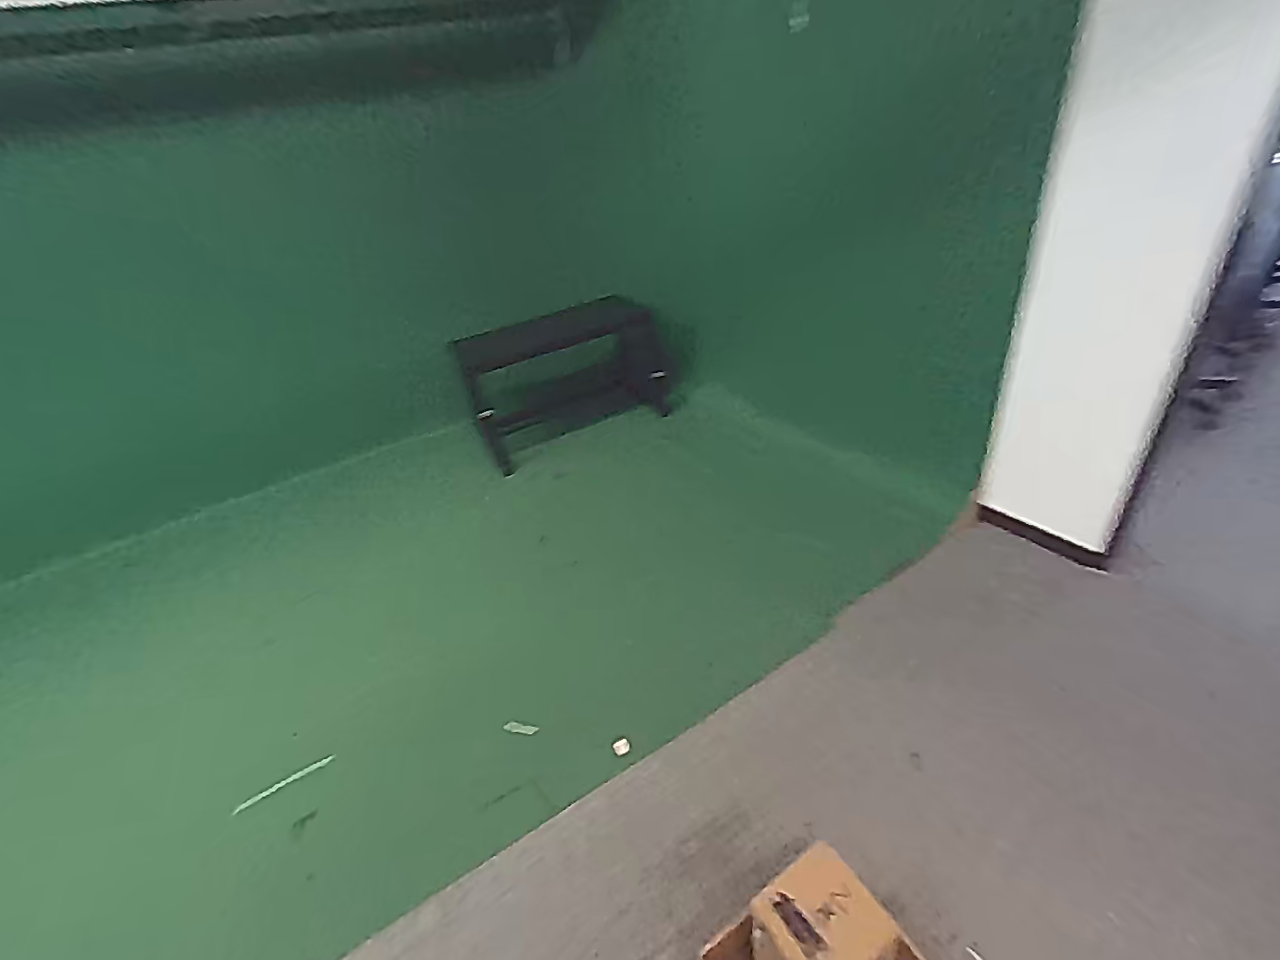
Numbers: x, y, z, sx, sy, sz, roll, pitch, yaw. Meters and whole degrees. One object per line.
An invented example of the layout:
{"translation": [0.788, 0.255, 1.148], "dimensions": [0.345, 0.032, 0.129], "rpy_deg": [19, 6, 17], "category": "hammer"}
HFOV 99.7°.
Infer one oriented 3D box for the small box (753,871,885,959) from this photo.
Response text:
{"translation": [0.336, 0.916, 1.038], "dimensions": [0.179, 0.176, 0.168], "rpy_deg": [-24, 35, -21], "category": "small box"}
